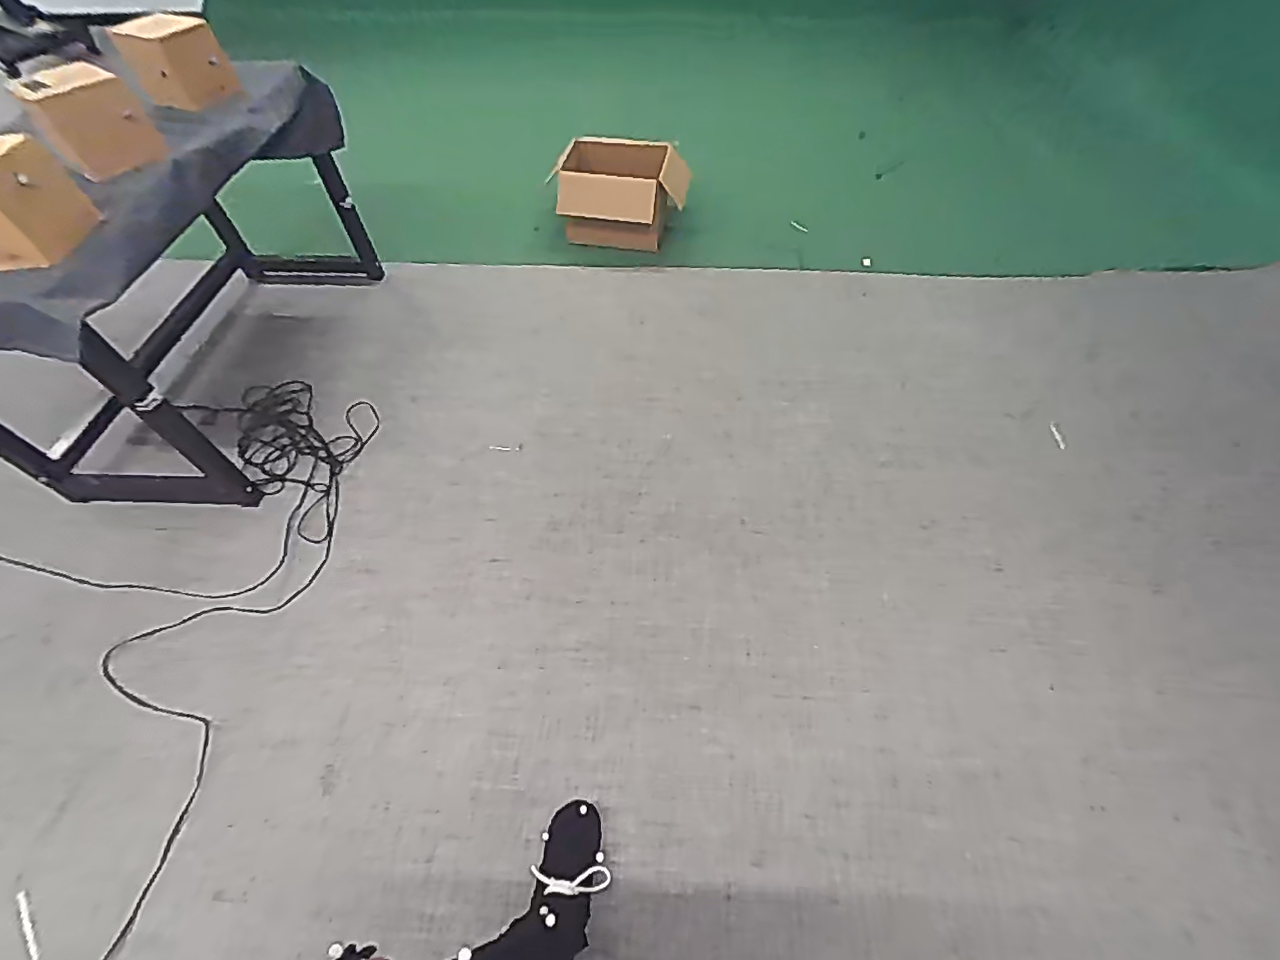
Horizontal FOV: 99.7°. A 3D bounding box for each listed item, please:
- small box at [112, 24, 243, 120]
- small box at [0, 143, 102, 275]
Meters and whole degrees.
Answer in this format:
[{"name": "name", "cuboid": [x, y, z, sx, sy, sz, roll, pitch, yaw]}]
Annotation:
[{"name": "small box", "cuboid": [-1.256, -1.117, 1.486, 0.179, 0.176, 0.168, 16, 55, 14]}, {"name": "small box", "cuboid": [-1.214, -0.519, 1.041, 0.168, 0.176, 0.179, -3, 54, 2]}]
